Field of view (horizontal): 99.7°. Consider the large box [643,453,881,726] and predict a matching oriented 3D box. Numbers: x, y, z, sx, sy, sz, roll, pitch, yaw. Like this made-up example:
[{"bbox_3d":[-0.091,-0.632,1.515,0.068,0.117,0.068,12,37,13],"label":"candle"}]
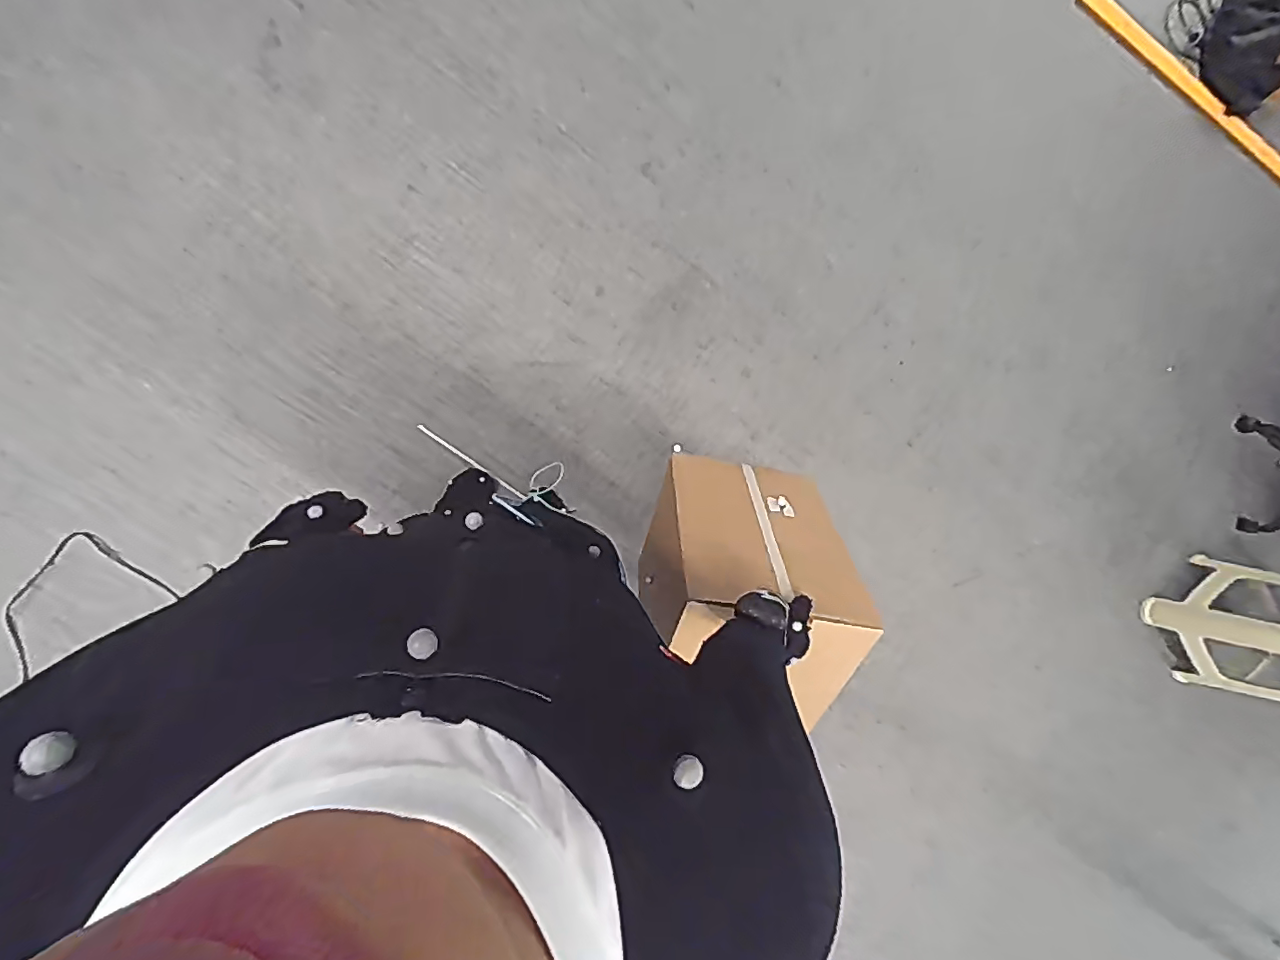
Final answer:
[{"bbox_3d":[0.188,0.202,1.048,0.320,0.408,0.320,11,124,-8],"label":"large box"}]
